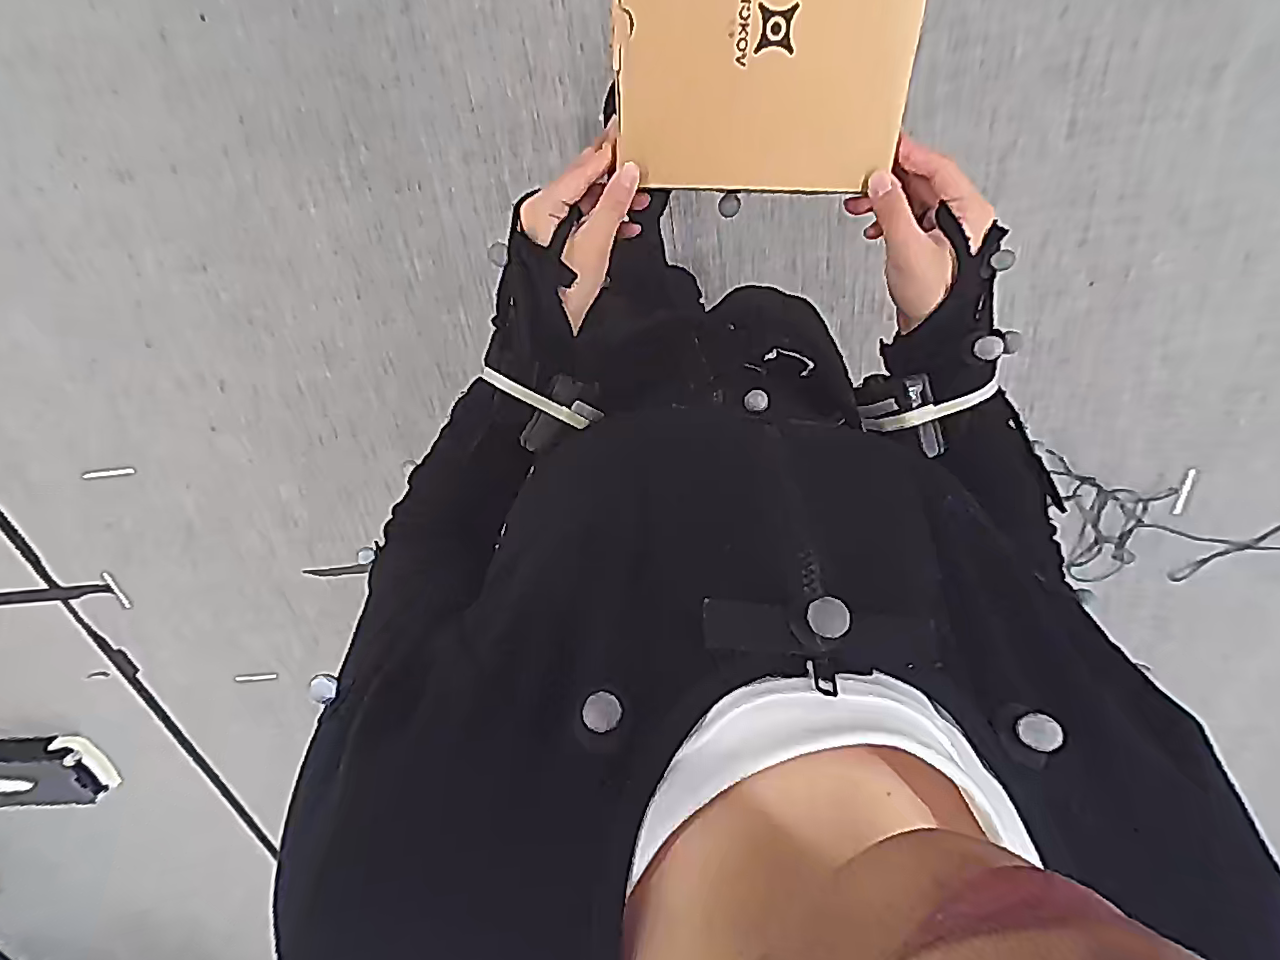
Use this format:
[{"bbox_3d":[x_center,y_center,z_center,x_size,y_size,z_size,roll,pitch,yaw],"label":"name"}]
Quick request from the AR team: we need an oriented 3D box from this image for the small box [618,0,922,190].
[{"bbox_3d":[0.076,-0.305,0.384,0.179,0.176,0.168,2,119,1],"label":"small box"}]
